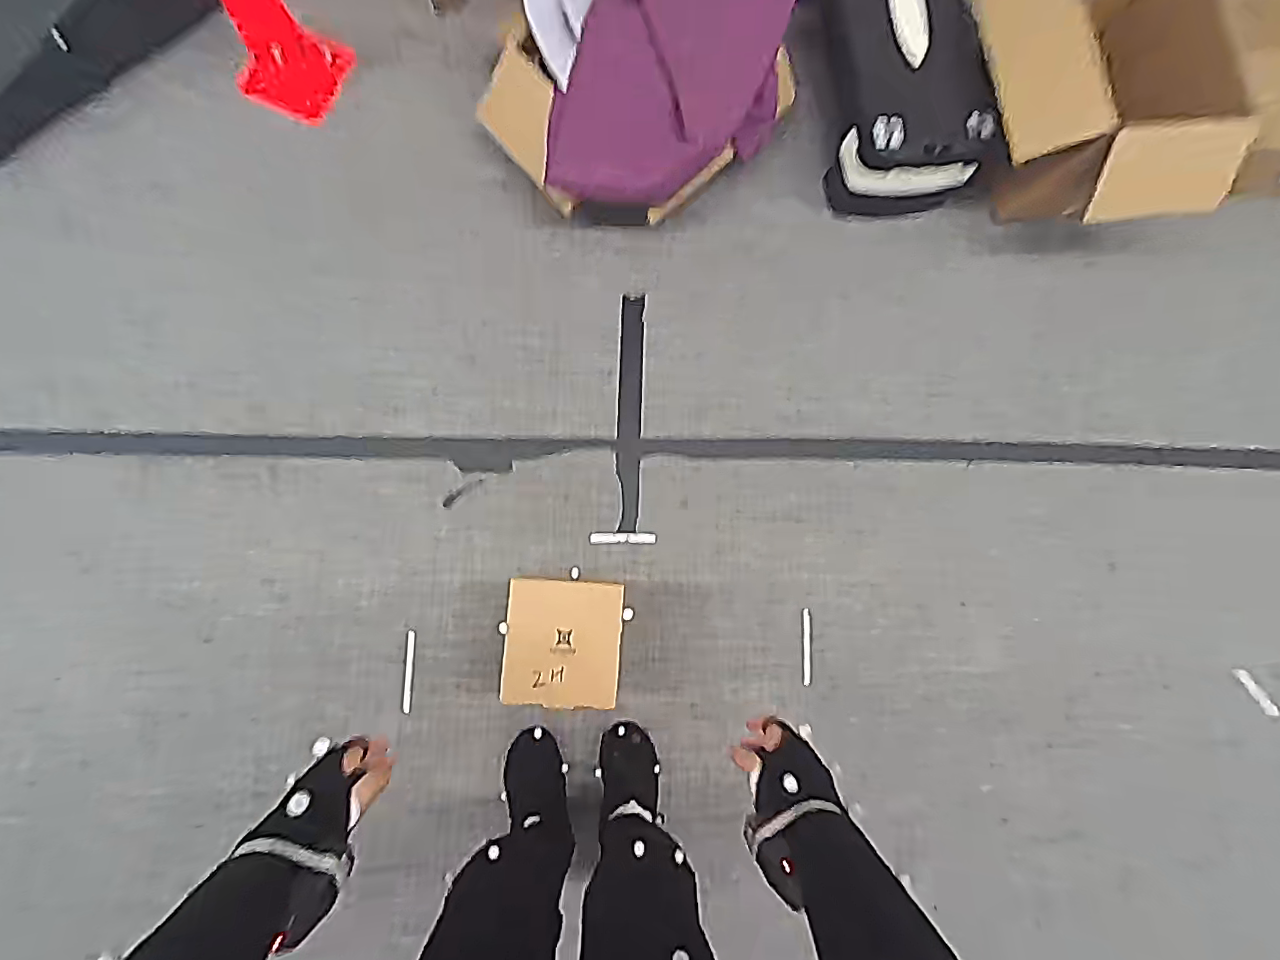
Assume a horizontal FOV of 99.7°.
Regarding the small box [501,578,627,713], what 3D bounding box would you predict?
[{"bbox_3d":[-0.114,0.249,0.852,0.168,0.176,0.179,5,83,-3],"label":"small box"}]
